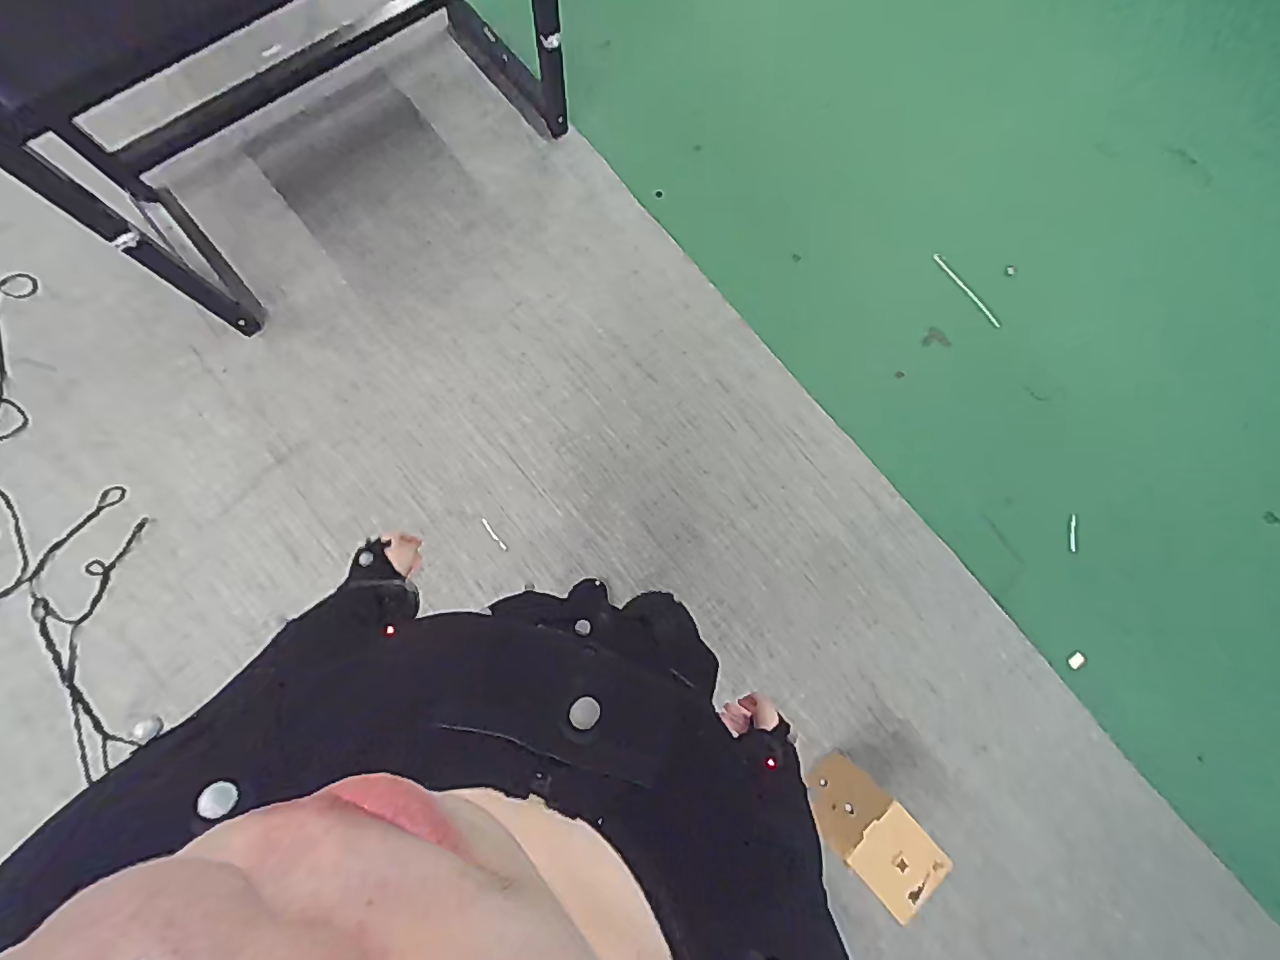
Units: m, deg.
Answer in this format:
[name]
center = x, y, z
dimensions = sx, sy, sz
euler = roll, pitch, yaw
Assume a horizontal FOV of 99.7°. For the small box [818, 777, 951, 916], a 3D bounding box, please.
[small box]
center = 0.535, 0.802, 1.213
dimensions = 0.168, 0.176, 0.179
euler = -41, 85, -10
